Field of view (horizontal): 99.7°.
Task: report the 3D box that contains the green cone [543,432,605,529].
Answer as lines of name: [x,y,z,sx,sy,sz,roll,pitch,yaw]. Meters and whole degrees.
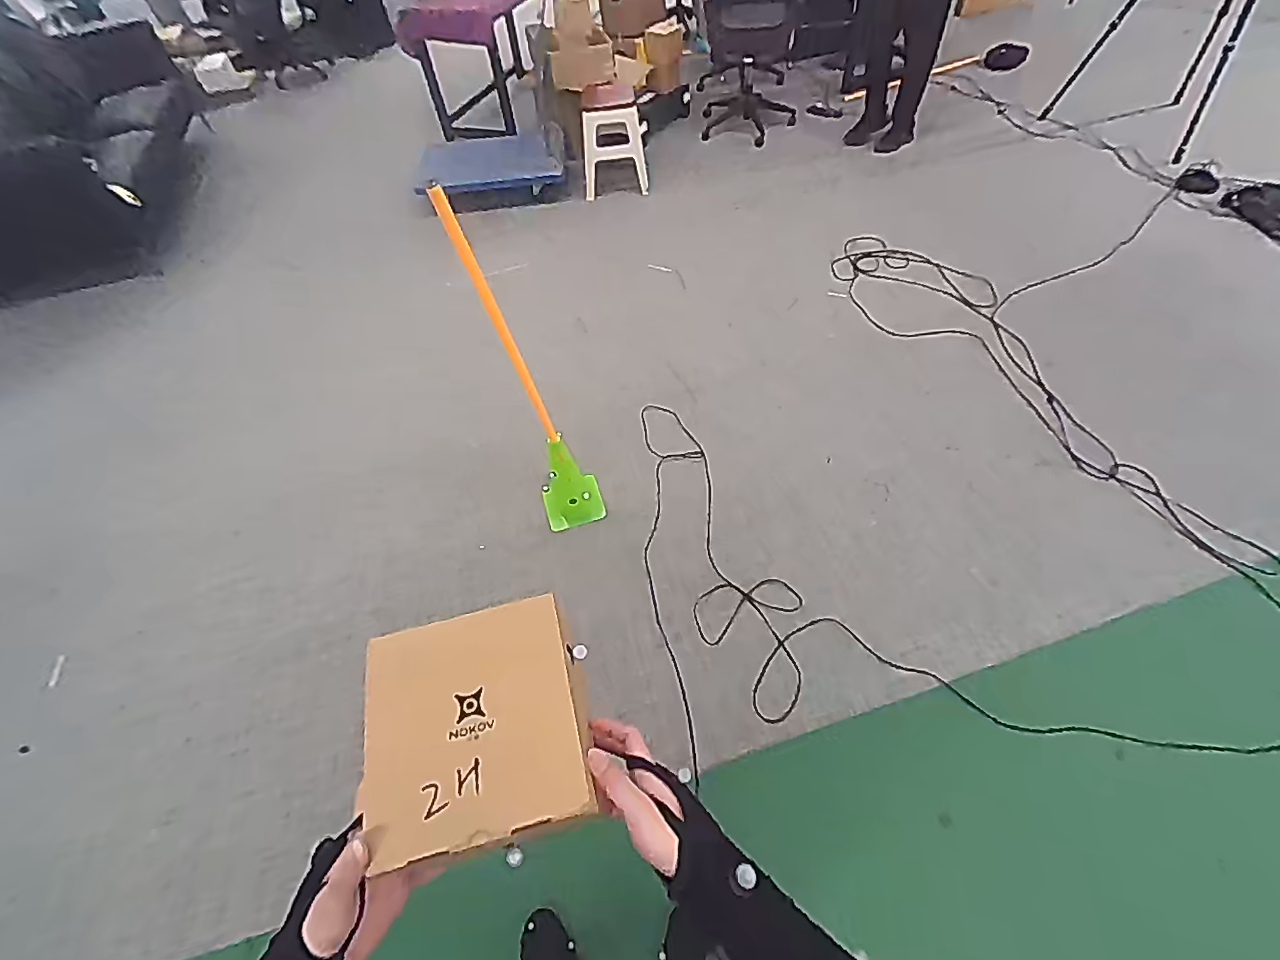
green cone: [-0.248,-0.025,1.804,0.202,0.368,0.200,-16,55,-8]

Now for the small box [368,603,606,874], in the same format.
small box: [-0.131,0.241,0.505,0.168,0.176,0.179,-13,57,-6]
